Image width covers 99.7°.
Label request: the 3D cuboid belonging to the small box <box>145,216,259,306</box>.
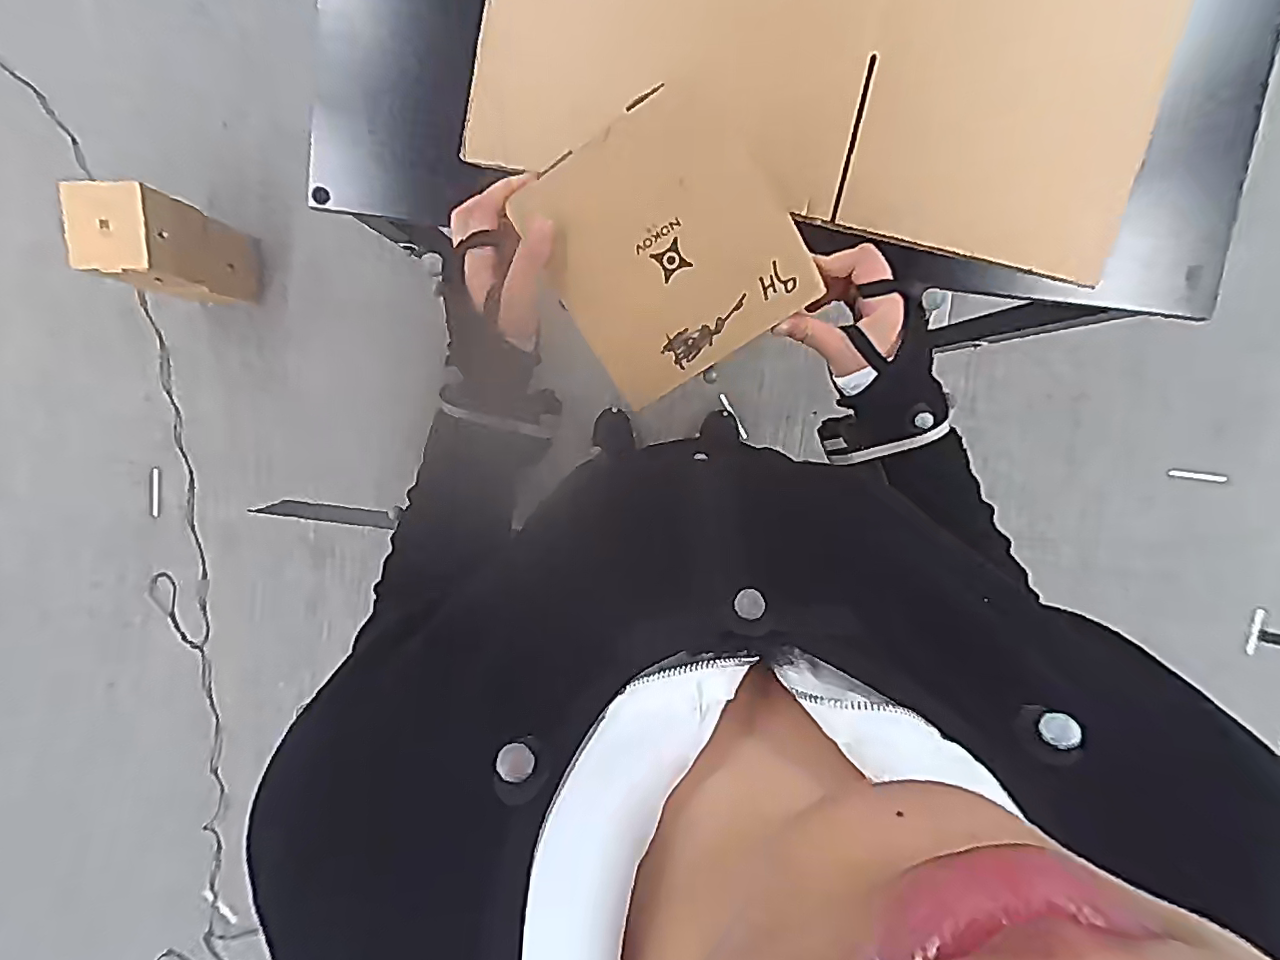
[{"bbox_3d":[-1.094,-0.548,1.357,0.168,0.176,0.179,3,98,0],"label":"small box"}]

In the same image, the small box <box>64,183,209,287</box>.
[{"bbox_3d":[-1.098,-0.532,1.195,0.168,0.176,0.179,0,96,0],"label":"small box"}]
